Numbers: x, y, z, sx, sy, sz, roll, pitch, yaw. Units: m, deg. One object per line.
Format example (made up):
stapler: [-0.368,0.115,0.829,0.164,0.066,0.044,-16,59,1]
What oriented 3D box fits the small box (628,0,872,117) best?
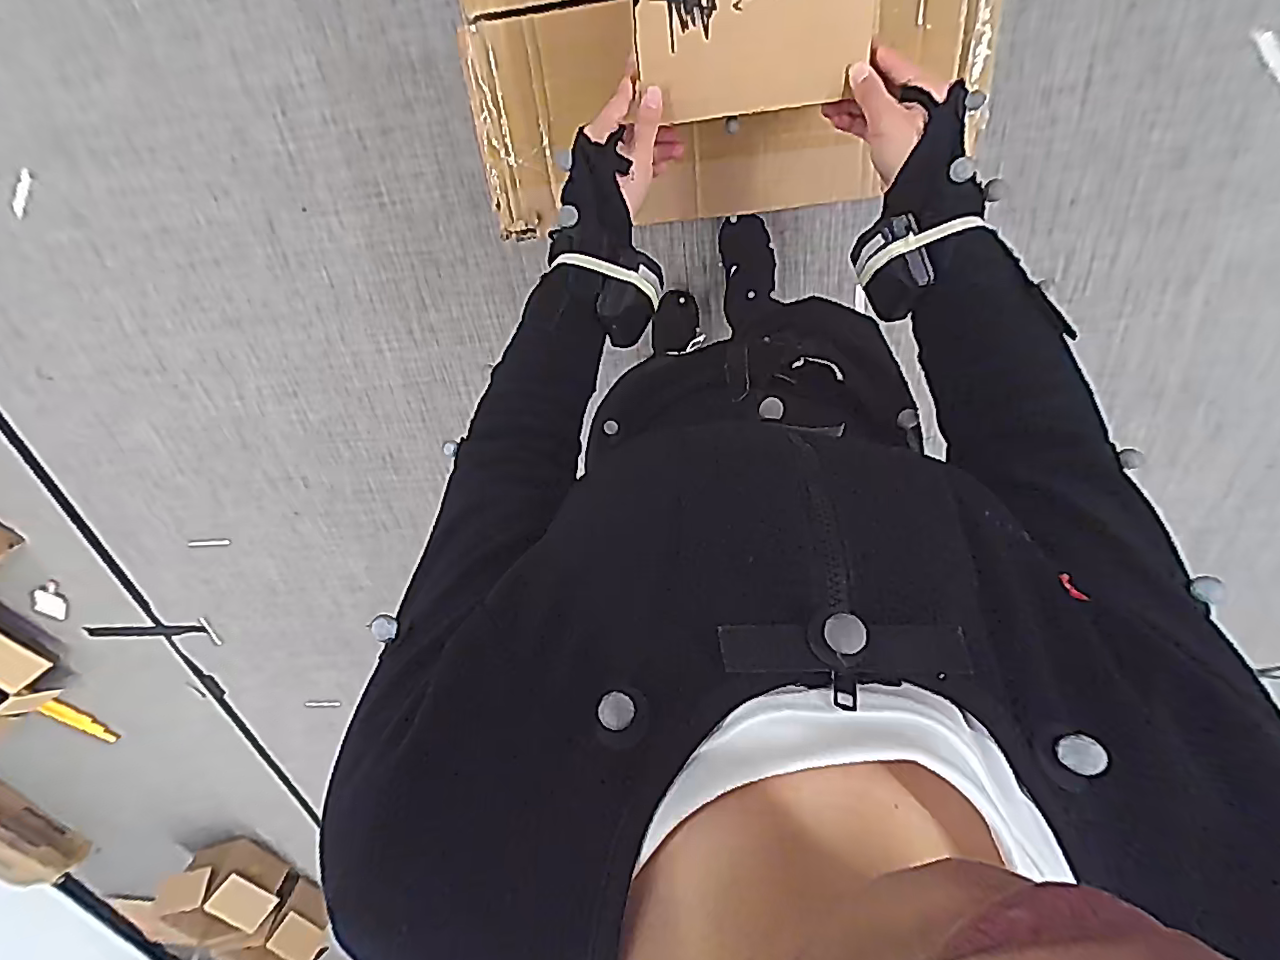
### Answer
small box: [0.082,-0.404,0.443,0.179,0.176,0.168,-3,124,7]
